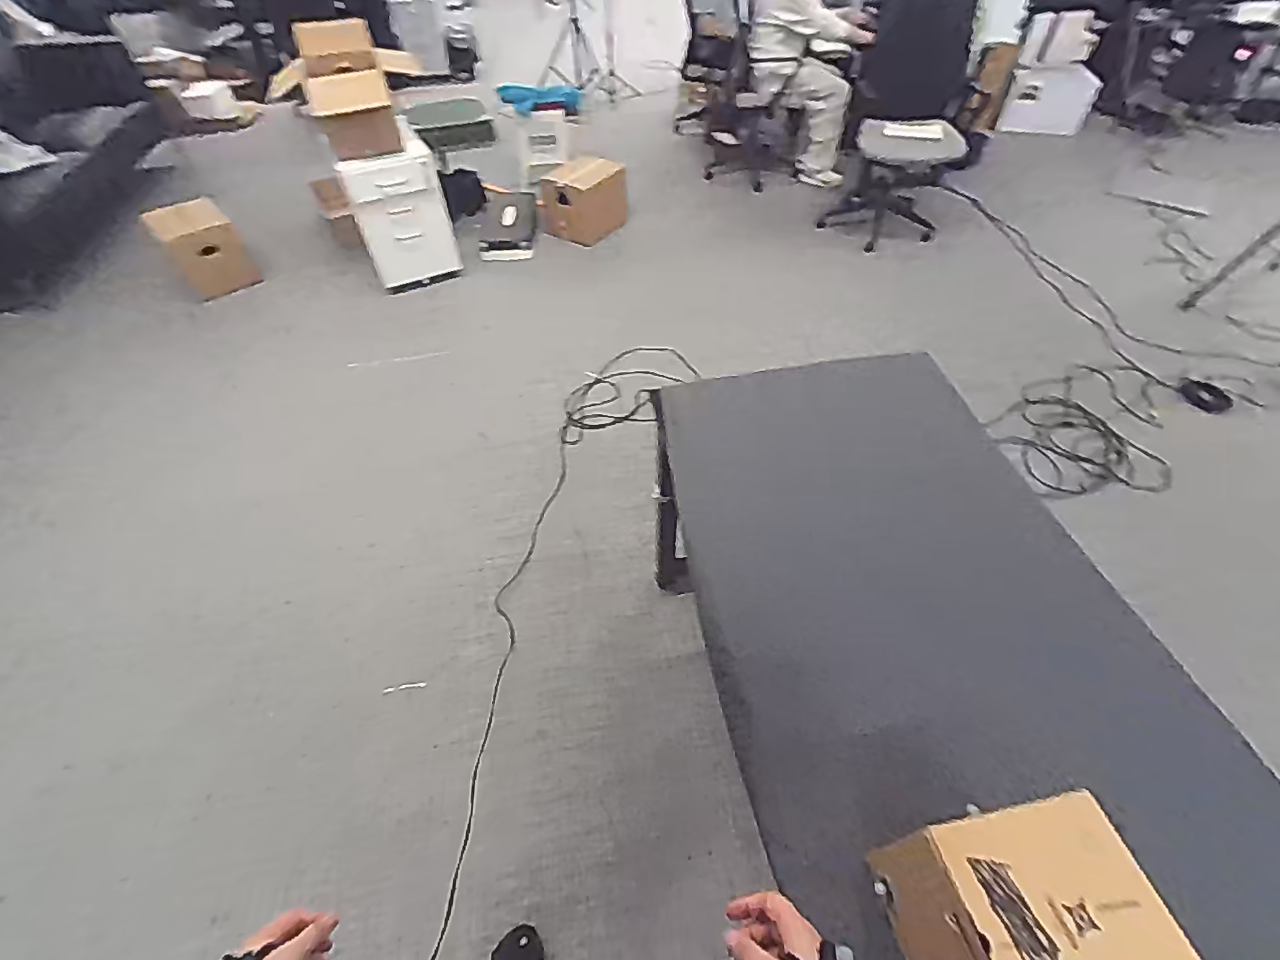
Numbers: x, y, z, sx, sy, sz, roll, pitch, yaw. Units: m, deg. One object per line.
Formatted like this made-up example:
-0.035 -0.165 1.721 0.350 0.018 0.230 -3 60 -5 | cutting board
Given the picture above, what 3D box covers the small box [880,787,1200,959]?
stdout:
0.356 0.418 0.513 0.179 0.176 0.168 -6 48 -9 | small box
